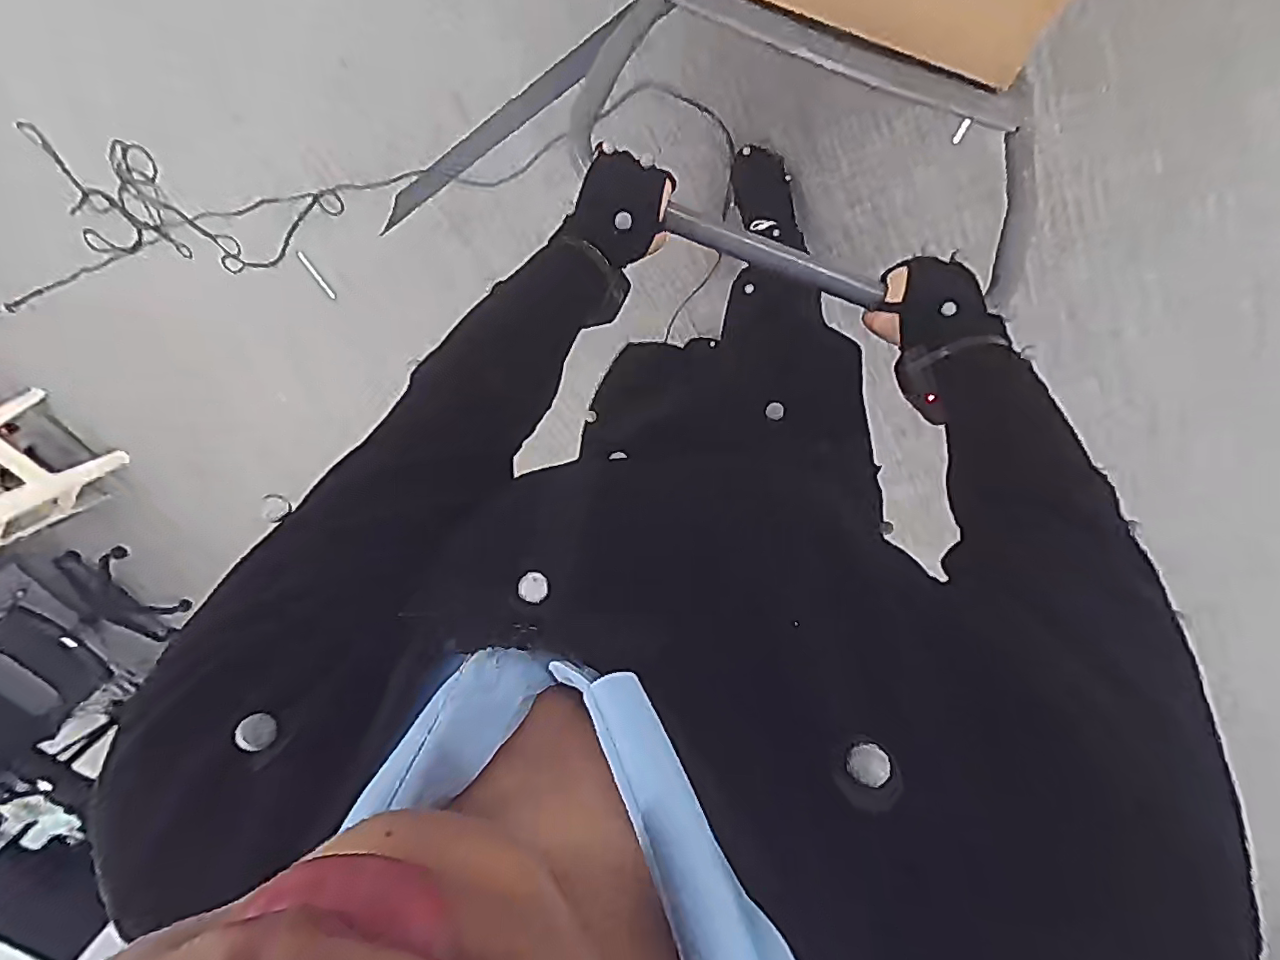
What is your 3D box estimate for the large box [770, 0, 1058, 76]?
[{"bbox_3d":[0.352,-0.775,0.648,0.408,0.320,0.320,20,148,0],"label":"large box"}]
